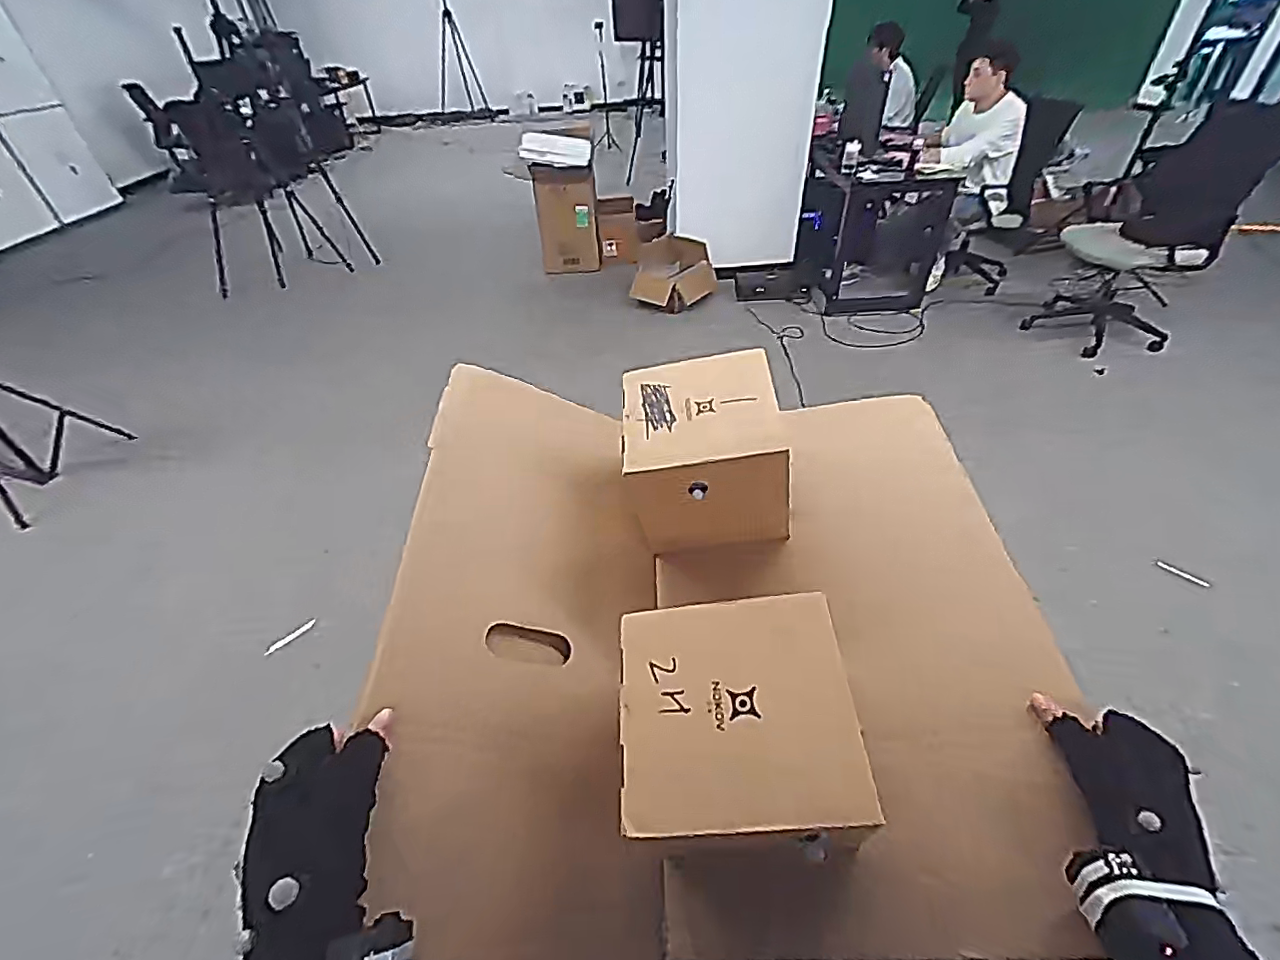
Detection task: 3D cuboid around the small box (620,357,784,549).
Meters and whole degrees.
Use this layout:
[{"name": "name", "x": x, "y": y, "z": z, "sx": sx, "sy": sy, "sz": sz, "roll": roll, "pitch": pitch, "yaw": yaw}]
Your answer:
[{"name": "small box", "x": 0.080, "y": -0.026, "z": 0.683, "sx": 0.179, "sy": 0.176, "sz": 0.168, "roll": -8, "pitch": 51, "yaw": 9}]

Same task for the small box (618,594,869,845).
[{"name": "small box", "x": 0.086, "y": 0.220, "z": 0.484, "sx": 0.179, "sy": 0.176, "sz": 0.168, "roll": -9, "pitch": 50, "yaw": 10}]
